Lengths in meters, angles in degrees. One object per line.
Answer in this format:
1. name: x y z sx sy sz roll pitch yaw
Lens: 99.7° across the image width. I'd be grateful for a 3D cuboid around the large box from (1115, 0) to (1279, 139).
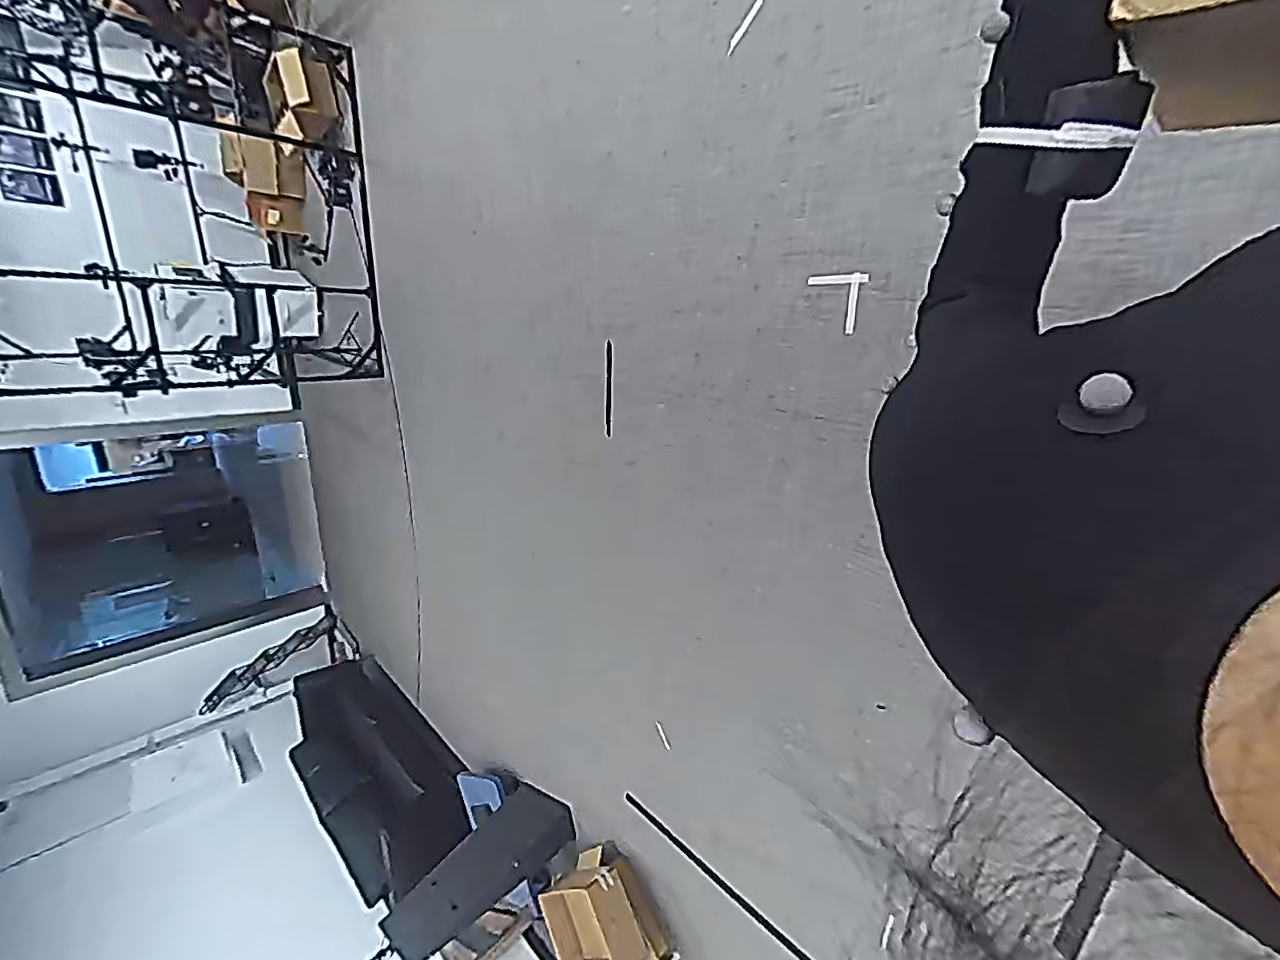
1. large box: 0.527 -0.376 0.235 0.408 0.320 0.320 24 120 41
